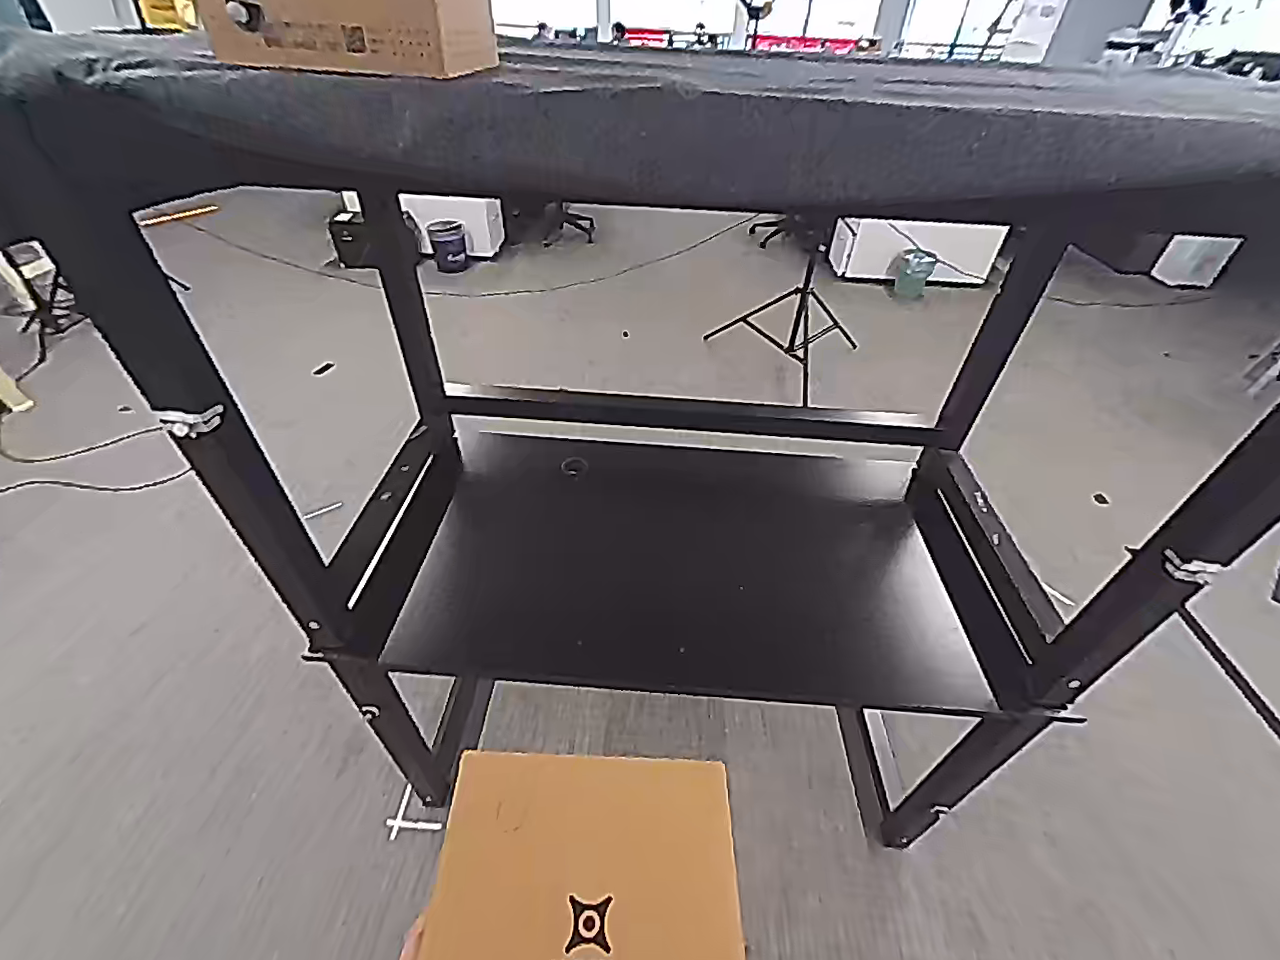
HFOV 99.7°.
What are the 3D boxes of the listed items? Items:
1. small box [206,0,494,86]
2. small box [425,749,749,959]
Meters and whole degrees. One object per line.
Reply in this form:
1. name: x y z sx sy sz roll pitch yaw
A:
1. small box: -0.214 -0.404 0.403 0.168 0.176 0.179 3 39 -1
2. small box: -0.036 0.290 0.332 0.168 0.176 0.179 5 45 -6
